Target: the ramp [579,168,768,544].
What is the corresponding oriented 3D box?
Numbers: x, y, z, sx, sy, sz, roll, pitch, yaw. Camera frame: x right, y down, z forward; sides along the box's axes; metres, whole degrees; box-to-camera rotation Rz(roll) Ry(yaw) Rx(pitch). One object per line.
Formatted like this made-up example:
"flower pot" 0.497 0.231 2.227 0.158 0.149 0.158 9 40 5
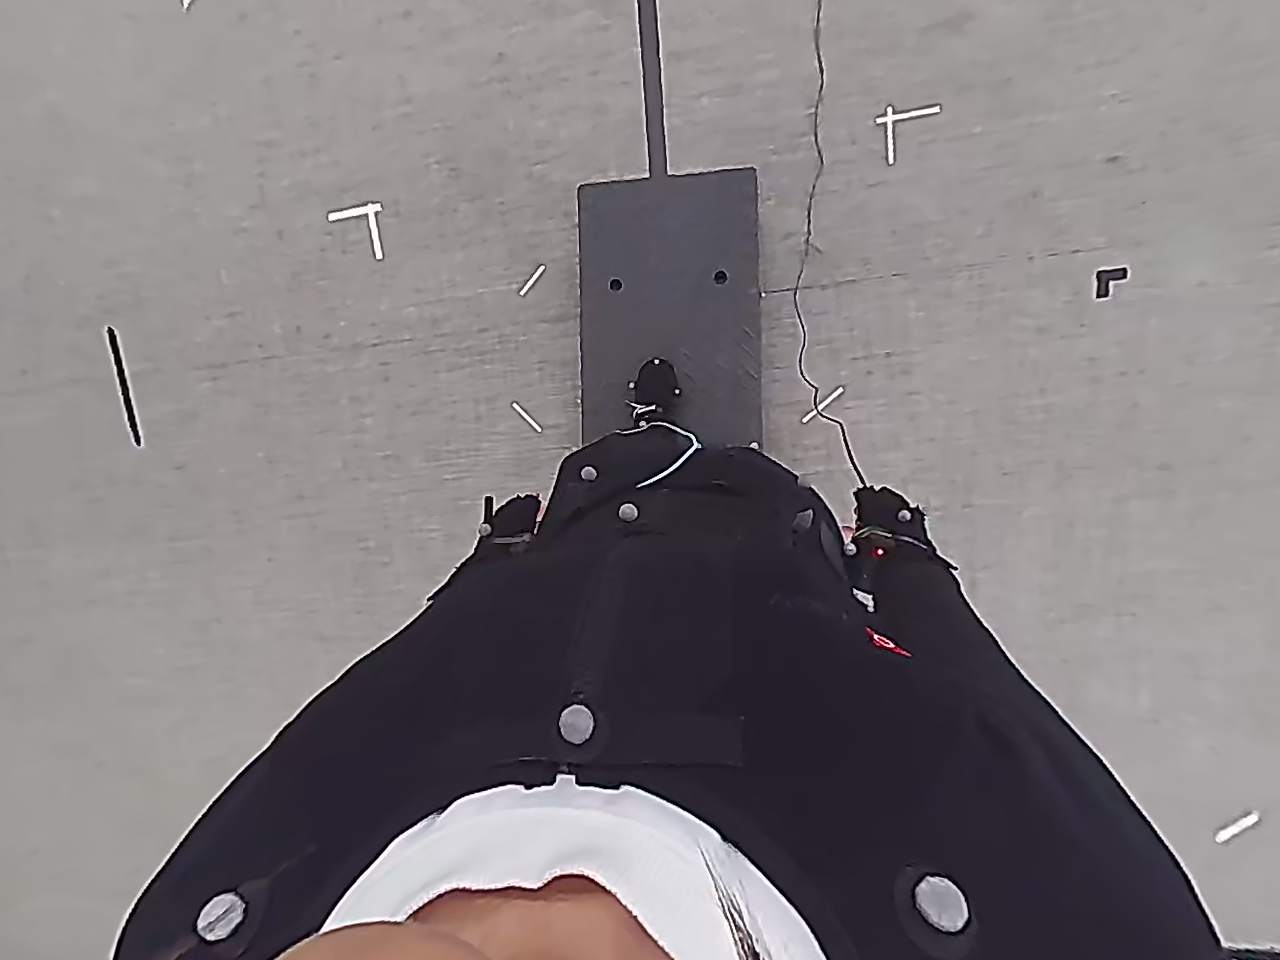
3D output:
"ramp" 0.080 -0.328 1.460 0.509 0.206 0.991 -3 98 9
